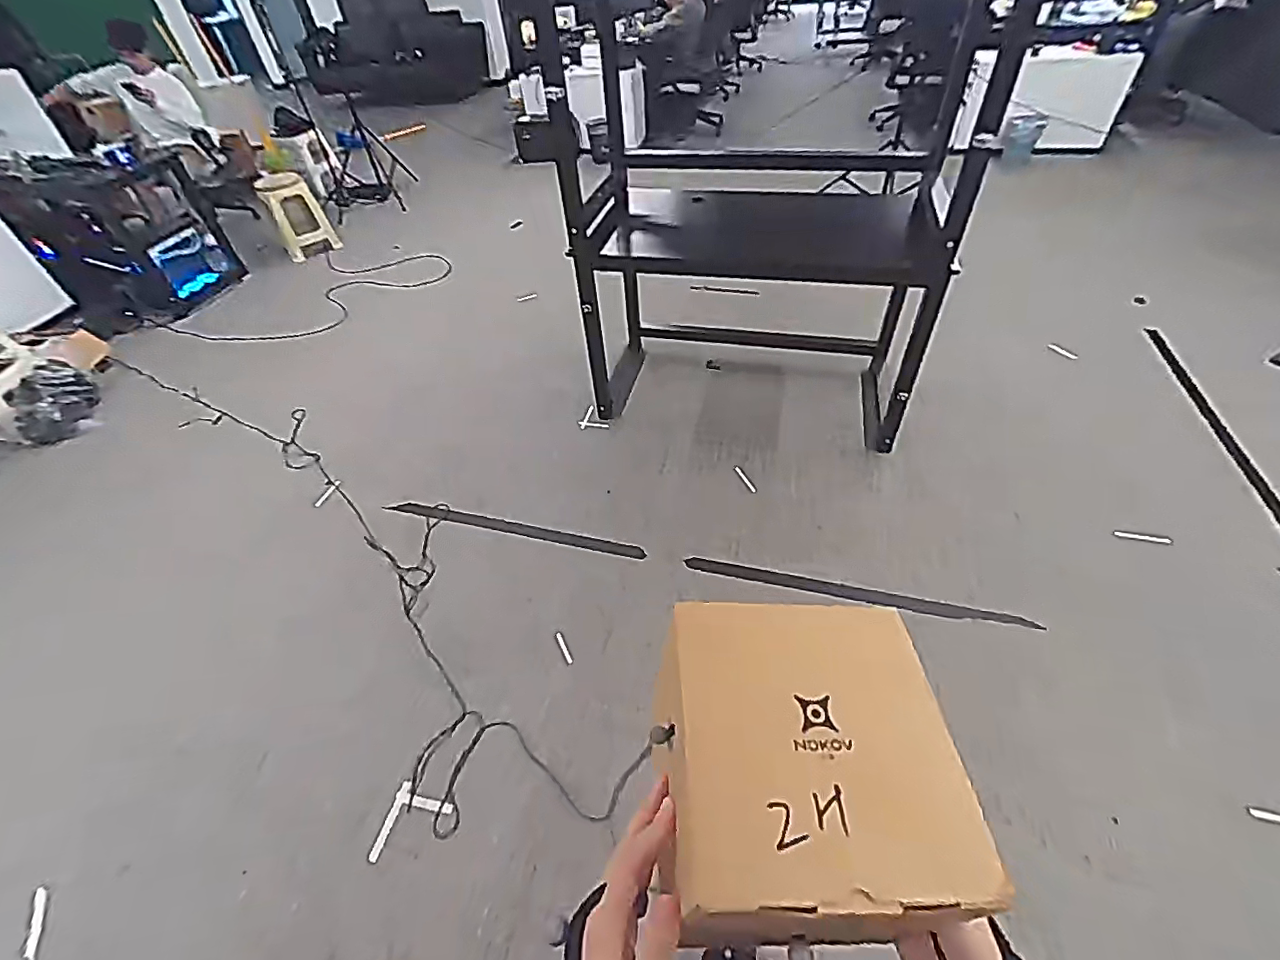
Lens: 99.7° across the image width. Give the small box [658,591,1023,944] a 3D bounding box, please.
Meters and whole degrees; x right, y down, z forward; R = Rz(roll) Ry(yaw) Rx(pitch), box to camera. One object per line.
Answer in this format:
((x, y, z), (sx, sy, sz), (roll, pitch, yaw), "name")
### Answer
((0.103, 0.200, 0.380), (0.168, 0.176, 0.179), (2, 44, -3), "small box")
